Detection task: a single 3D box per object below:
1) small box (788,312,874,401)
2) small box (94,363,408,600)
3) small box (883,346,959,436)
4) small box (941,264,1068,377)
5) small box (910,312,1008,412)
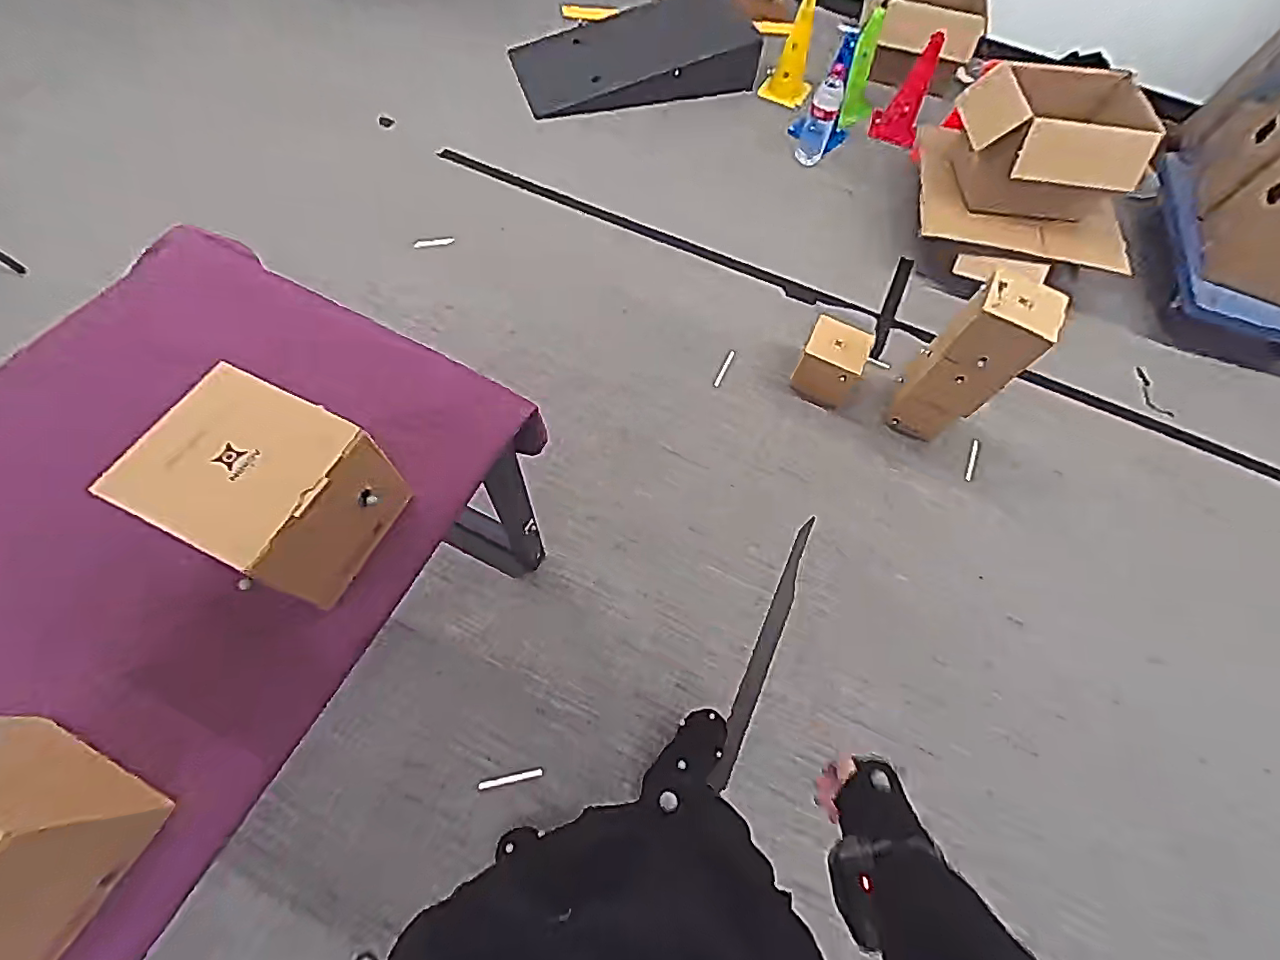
[{"bbox_3d":[0.576,-0.370,1.651,0.179,0.176,0.168,26,65,6],"label":"small box"},{"bbox_3d":[-0.384,0.014,0.578,0.179,0.176,0.168,24,65,7],"label":"small box"},{"bbox_3d":[0.859,-0.262,1.626,0.168,0.176,0.179,25,65,6],"label":"small box"},{"bbox_3d":[0.882,-0.379,1.319,0.179,0.176,0.168,30,67,7],"label":"small box"},{"bbox_3d":[0.870,-0.314,1.469,0.179,0.176,0.168,27,67,6],"label":"small box"}]
